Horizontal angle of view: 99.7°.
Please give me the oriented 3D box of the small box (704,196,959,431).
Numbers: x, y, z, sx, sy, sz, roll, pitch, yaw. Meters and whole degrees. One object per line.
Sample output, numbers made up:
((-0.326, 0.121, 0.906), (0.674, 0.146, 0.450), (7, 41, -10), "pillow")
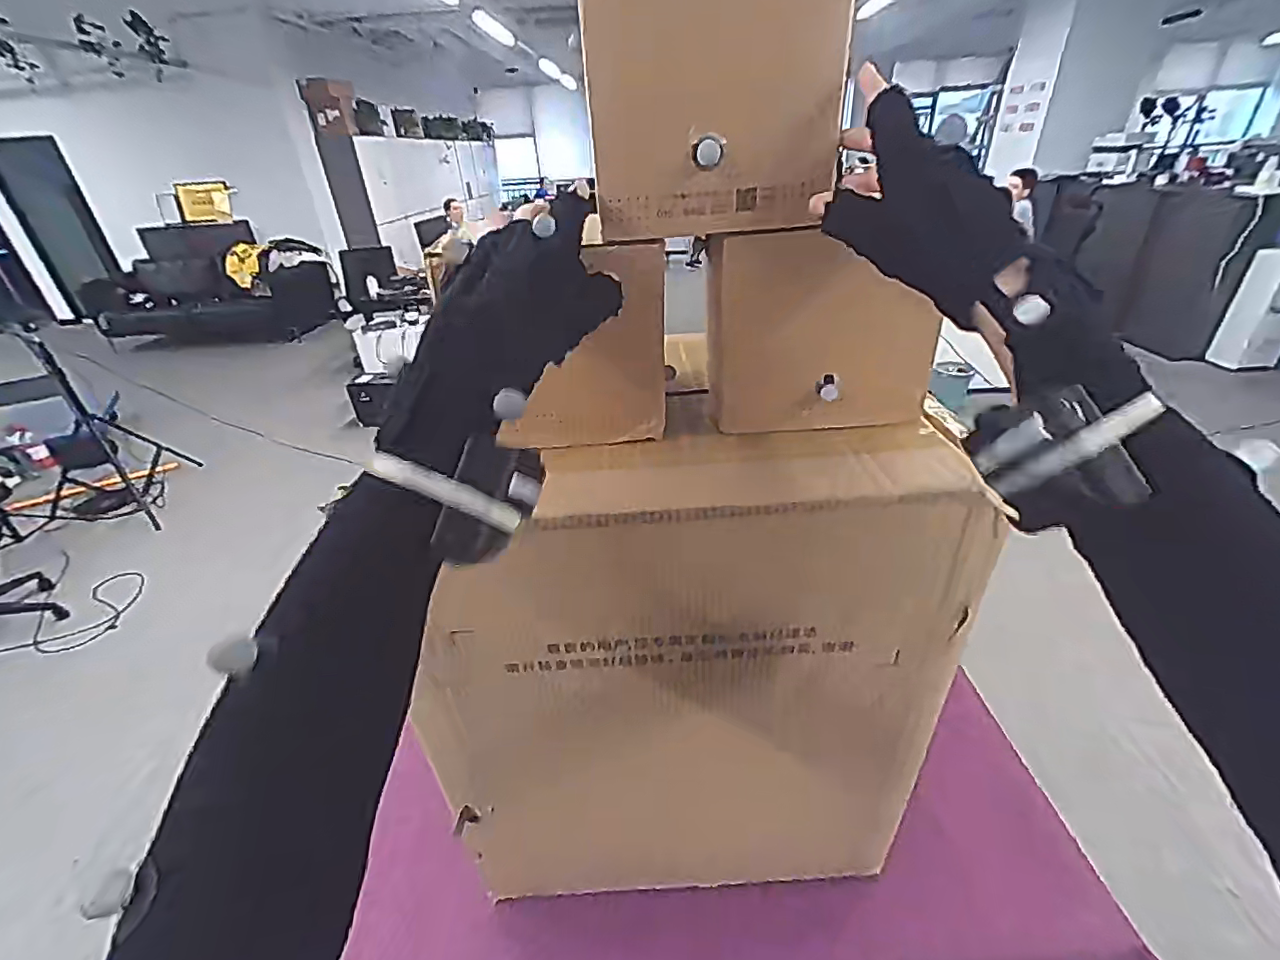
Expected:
((0.153, -0.157, 0.505), (0.179, 0.176, 0.168), (-4, 31, 2), "small box")

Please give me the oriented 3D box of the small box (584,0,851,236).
((0.048, -0.293, 0.421), (0.168, 0.176, 0.179), (-5, 32, 1), "small box")
